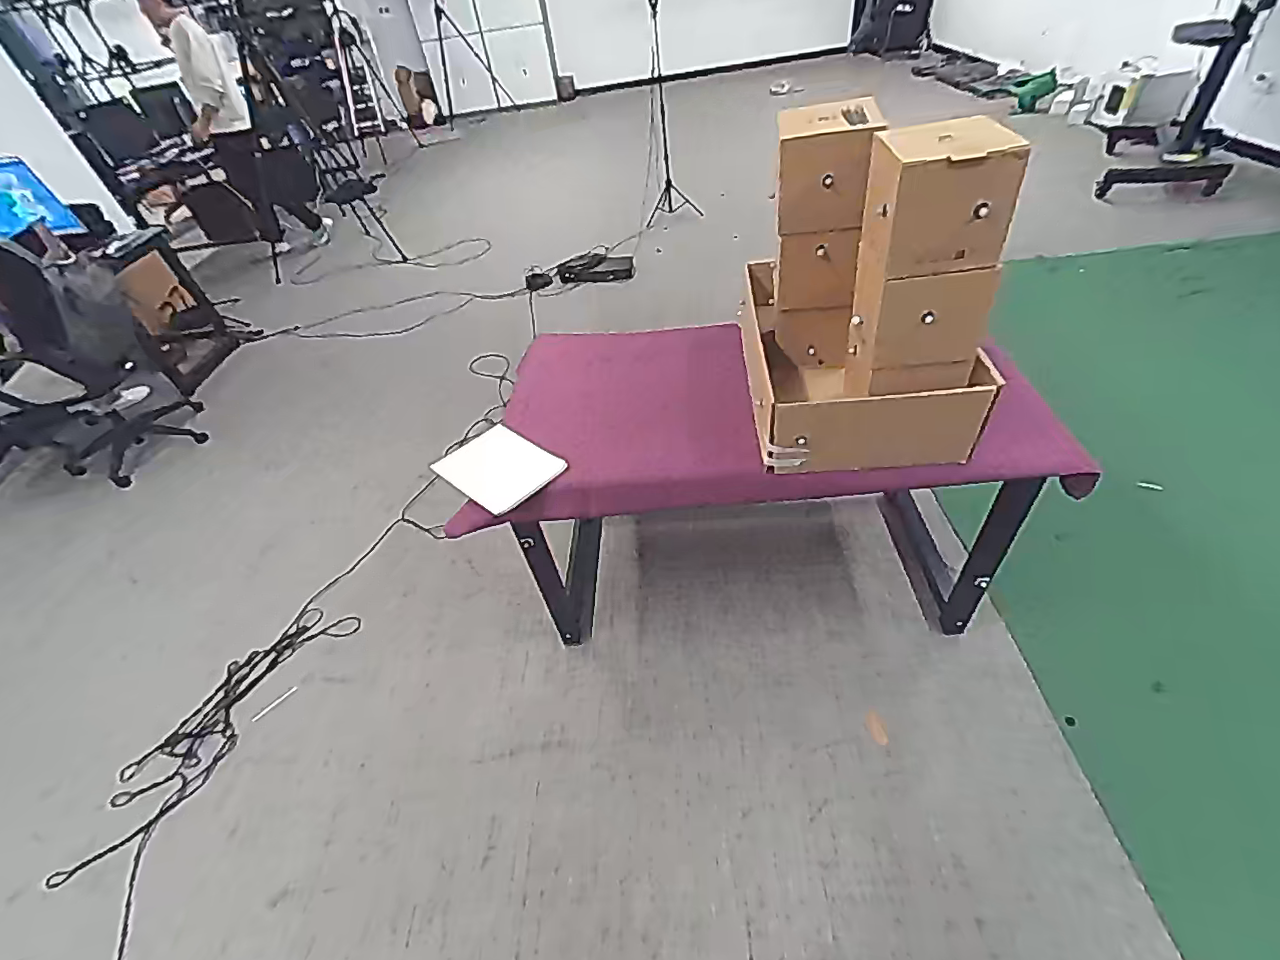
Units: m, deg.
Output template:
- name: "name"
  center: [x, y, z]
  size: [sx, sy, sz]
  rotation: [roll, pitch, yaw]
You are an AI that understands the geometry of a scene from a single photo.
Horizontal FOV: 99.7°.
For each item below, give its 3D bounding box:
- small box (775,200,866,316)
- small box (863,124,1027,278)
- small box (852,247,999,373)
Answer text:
- name: "small box"
  center: [0.381, -0.466, 1.144]
  size: [0.179, 0.176, 0.168]
  rotation: [0, 48, 12]
- name: "small box"
  center: [0.458, -0.427, 0.844]
  size: [0.168, 0.176, 0.179]
  rotation: [-3, 43, 10]
- name: "small box"
  center: [0.485, -0.306, 0.950]
  size: [0.179, 0.176, 0.168]
  rotation: [-4, 43, 10]
